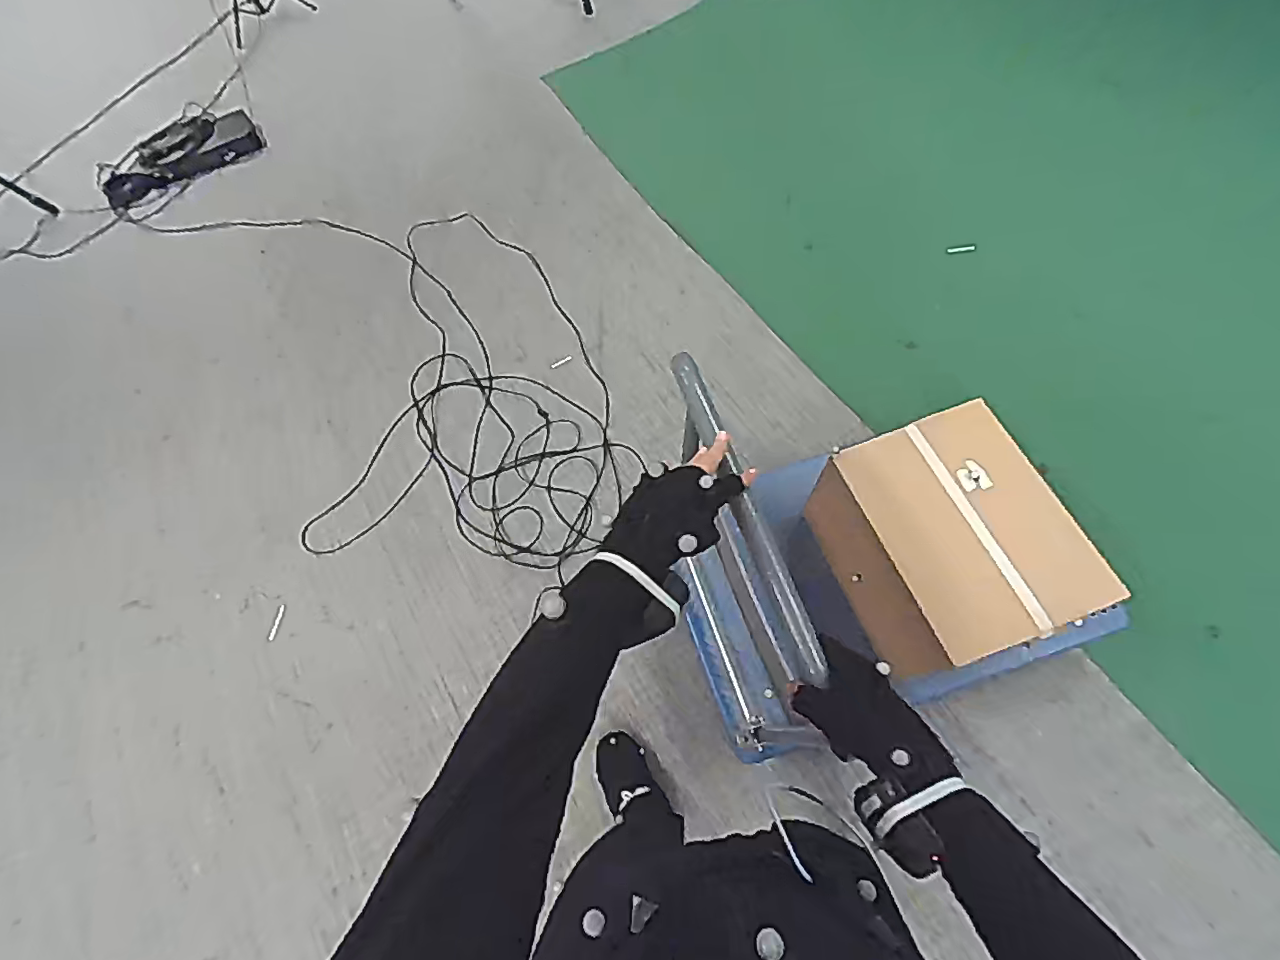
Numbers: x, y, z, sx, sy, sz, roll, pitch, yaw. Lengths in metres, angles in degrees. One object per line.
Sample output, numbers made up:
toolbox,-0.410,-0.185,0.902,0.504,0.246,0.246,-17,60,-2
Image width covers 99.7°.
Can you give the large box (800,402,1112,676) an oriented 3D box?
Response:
large box,0.570,0.129,1.077,0.320,0.320,0.408,-20,65,-4
